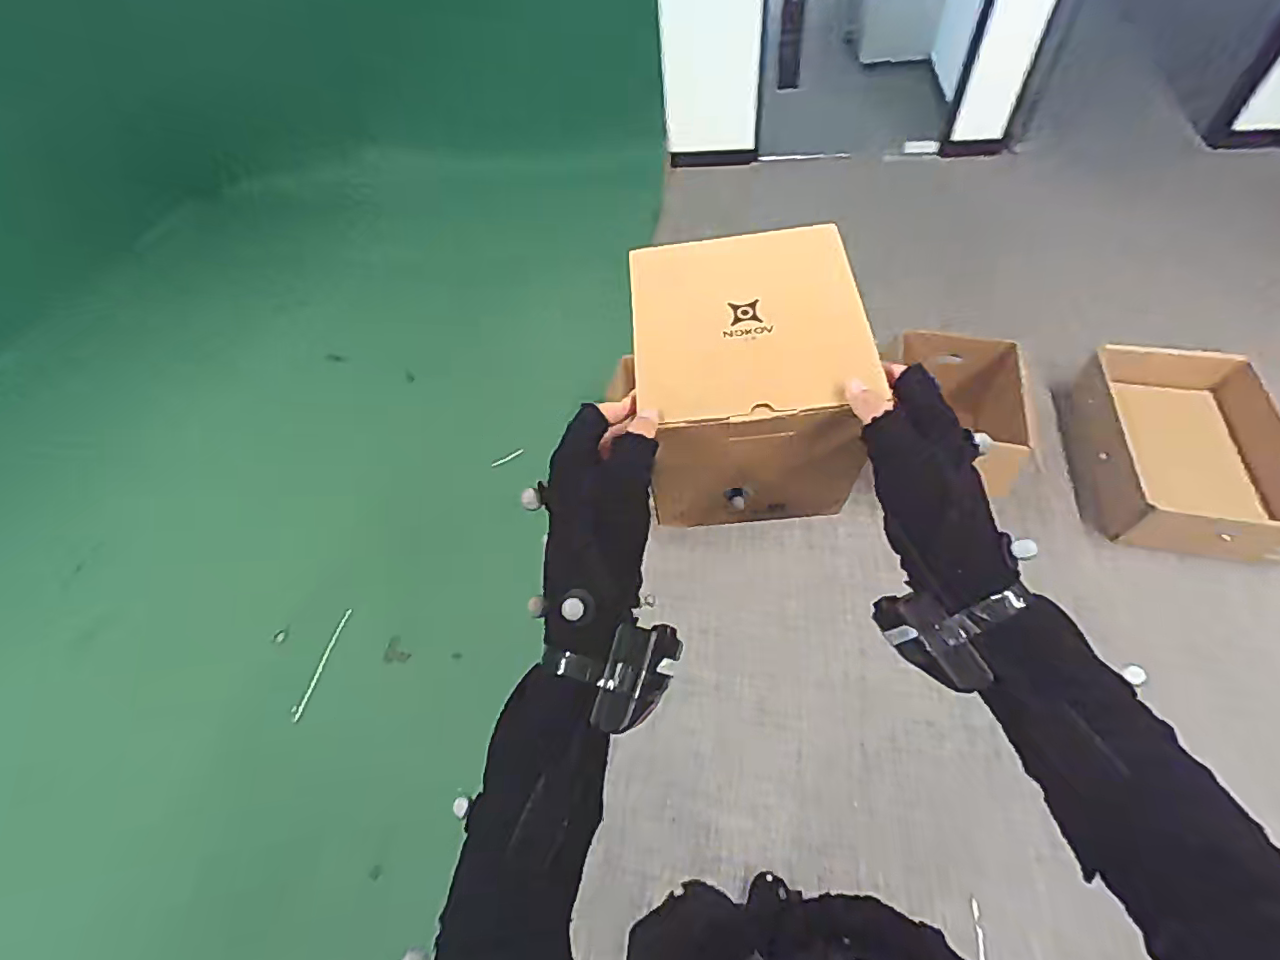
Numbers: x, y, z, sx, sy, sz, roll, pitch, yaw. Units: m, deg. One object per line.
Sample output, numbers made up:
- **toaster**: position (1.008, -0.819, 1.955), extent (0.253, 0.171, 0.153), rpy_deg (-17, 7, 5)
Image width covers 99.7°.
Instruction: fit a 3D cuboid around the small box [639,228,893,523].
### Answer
- **small box**: position (0.090, -0.080, 0.465), extent (0.168, 0.176, 0.179), rpy_deg (-6, 61, 6)
